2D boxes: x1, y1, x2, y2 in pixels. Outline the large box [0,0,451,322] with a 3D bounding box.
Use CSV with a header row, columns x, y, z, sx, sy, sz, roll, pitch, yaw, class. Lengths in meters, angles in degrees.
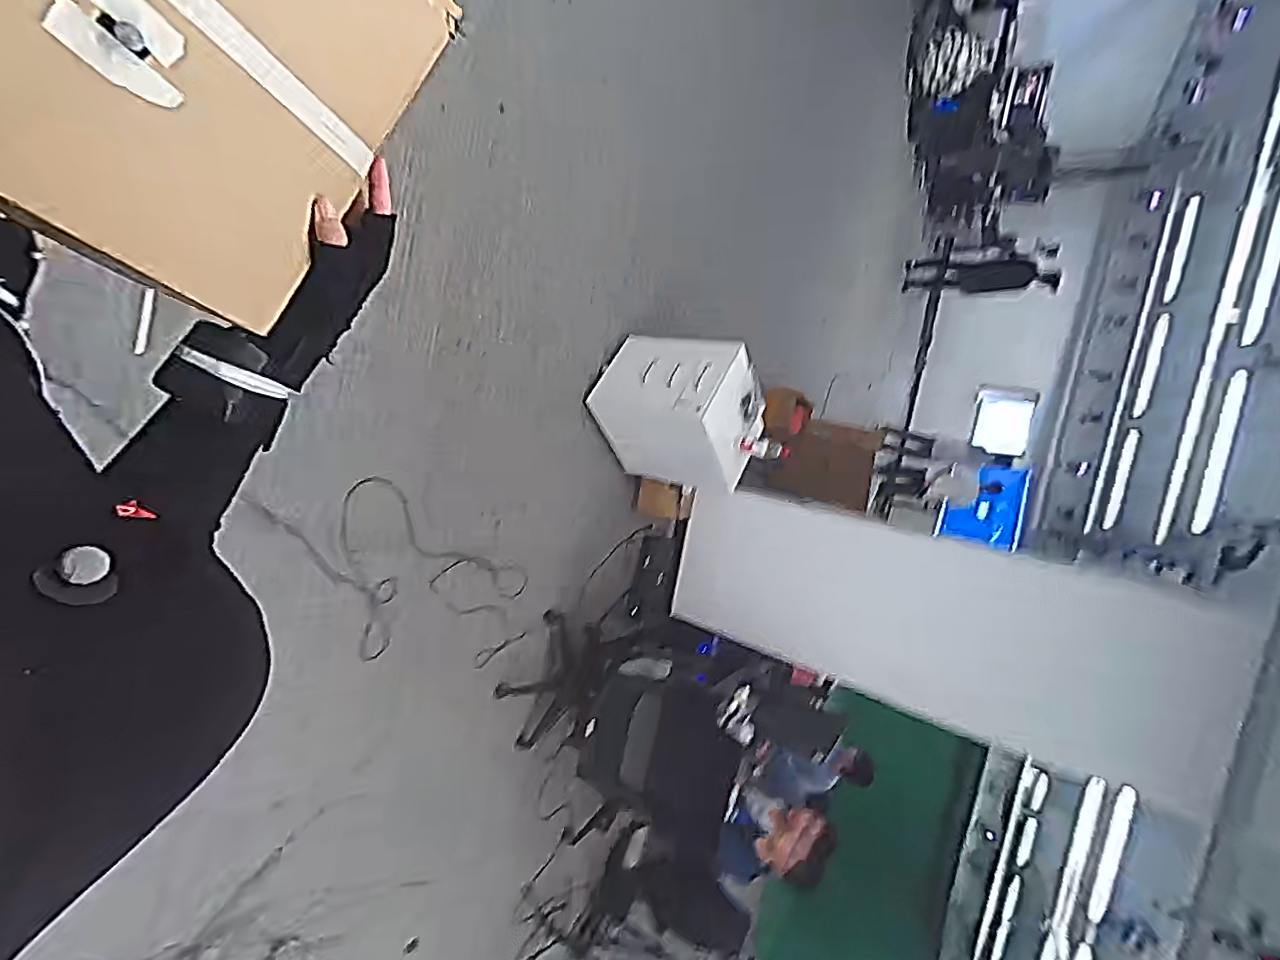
x,y,z,sx,sy,sz,roll,pitch,yaw,class
-0.428,-0.364,0.352,0.320,0.320,0.408,-63,148,-6,large box
